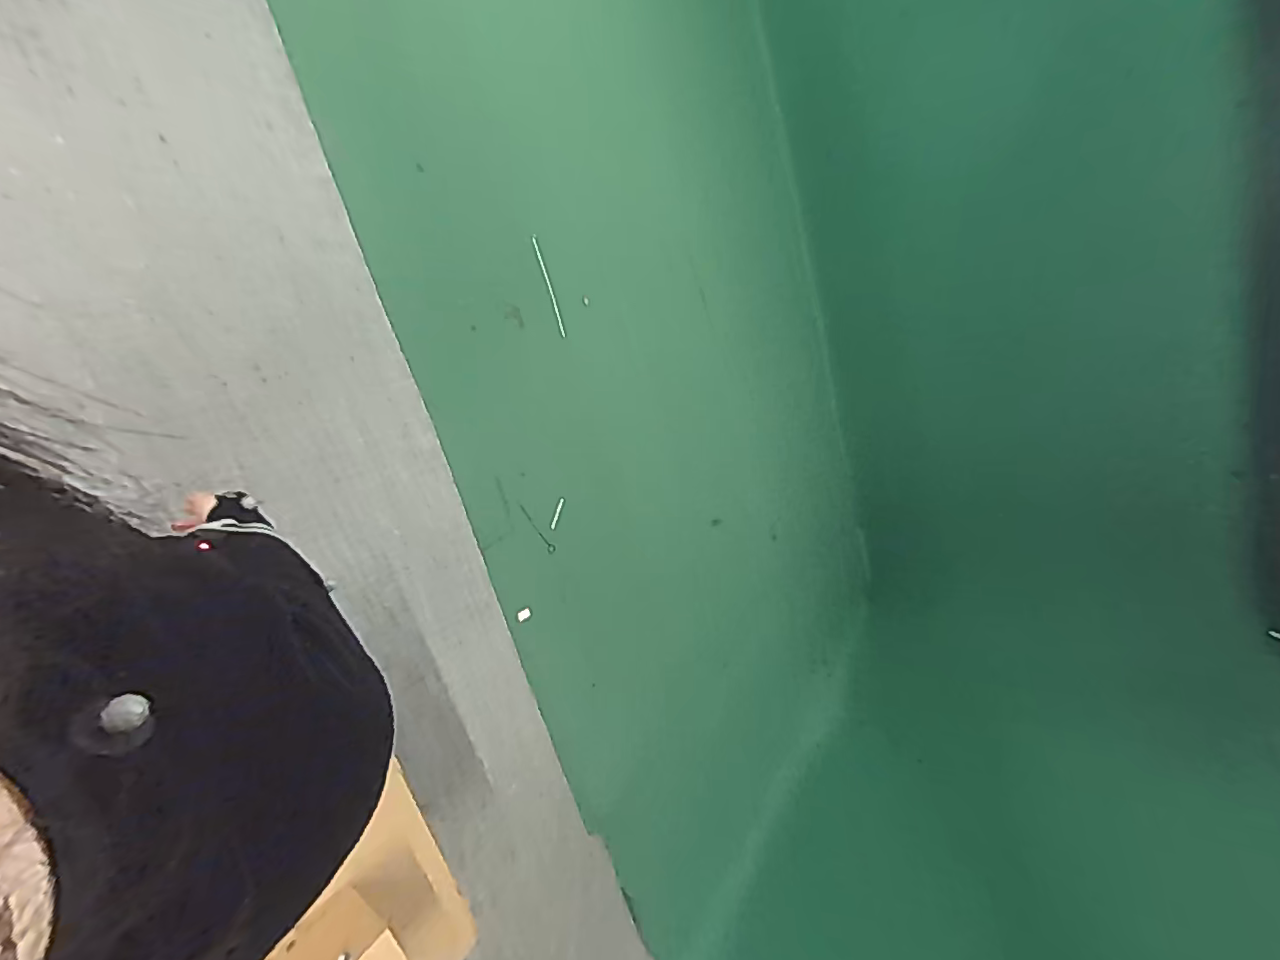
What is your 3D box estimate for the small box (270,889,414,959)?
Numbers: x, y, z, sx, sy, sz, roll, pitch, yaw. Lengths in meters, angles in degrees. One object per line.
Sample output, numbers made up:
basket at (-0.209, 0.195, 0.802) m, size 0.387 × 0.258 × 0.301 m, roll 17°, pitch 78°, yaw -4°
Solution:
small box at (-0.475, 0.826, 0.880) m, size 0.168 × 0.176 × 0.179 m, roll -34°, pitch 113°, yaw -45°
